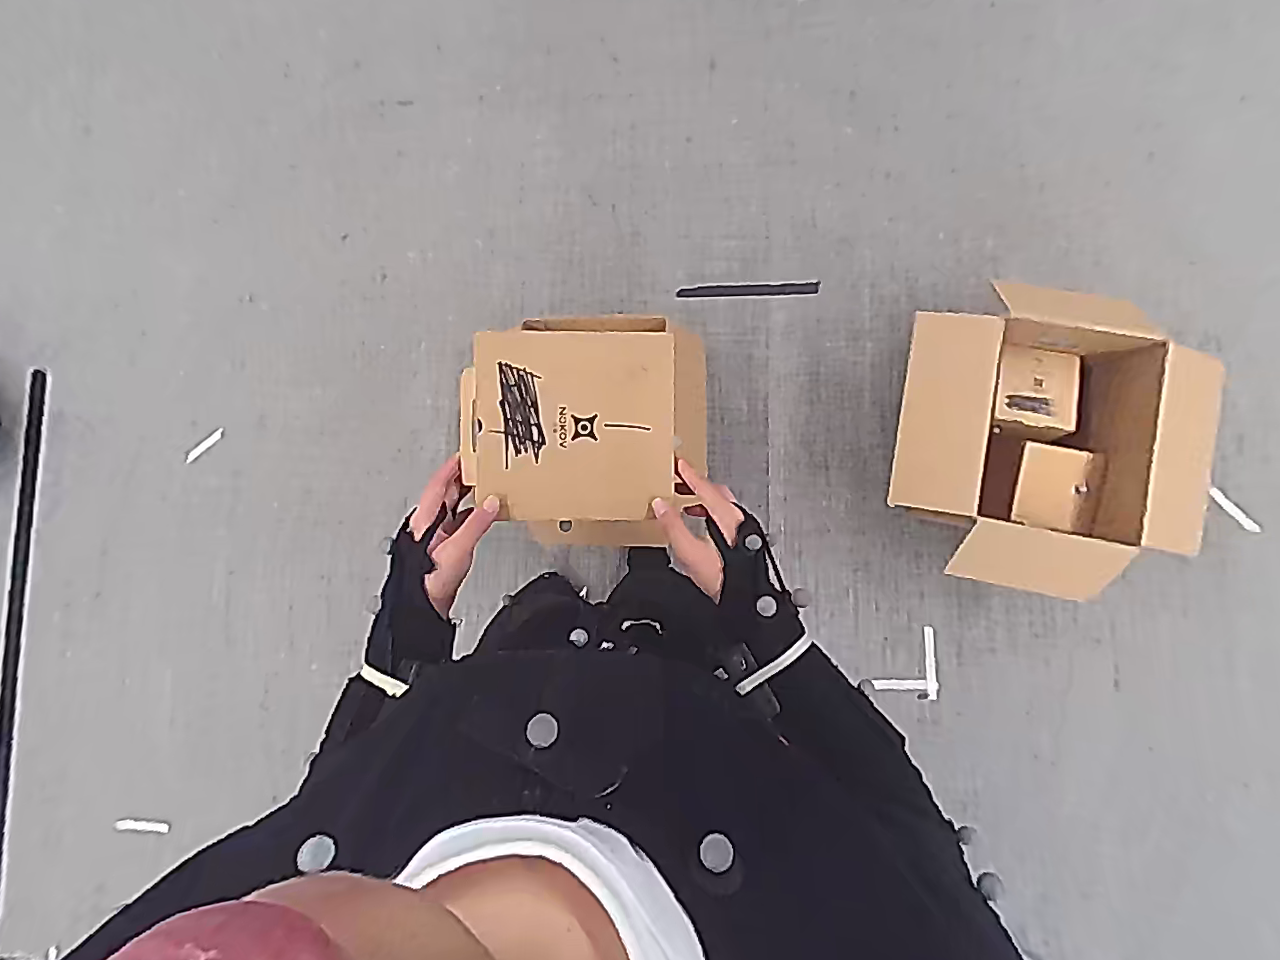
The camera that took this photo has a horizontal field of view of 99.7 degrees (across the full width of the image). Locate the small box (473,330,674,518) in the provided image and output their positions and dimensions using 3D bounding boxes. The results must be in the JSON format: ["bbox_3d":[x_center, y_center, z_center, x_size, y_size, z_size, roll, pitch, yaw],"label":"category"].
[{"bbox_3d":[-0.060,-0.049,0.551,0.179,0.176,0.168,0,91,-3],"label":"small box"}]
